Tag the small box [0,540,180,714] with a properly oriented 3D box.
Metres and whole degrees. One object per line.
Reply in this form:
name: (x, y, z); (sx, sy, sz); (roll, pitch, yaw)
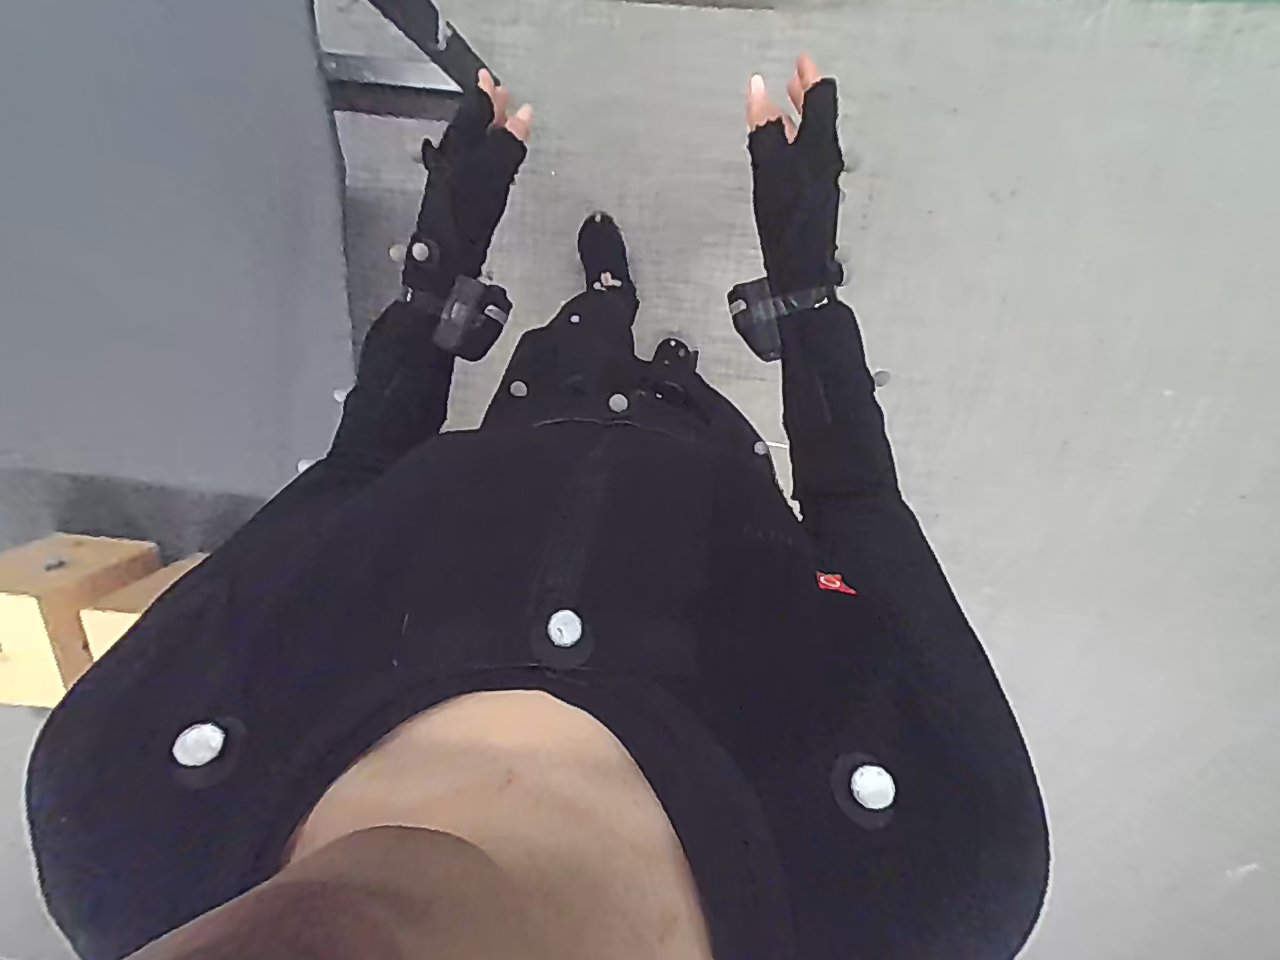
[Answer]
small box: (-0.817, 0.199, 0.772); (0.168, 0.176, 0.179); (4, 109, 3)
